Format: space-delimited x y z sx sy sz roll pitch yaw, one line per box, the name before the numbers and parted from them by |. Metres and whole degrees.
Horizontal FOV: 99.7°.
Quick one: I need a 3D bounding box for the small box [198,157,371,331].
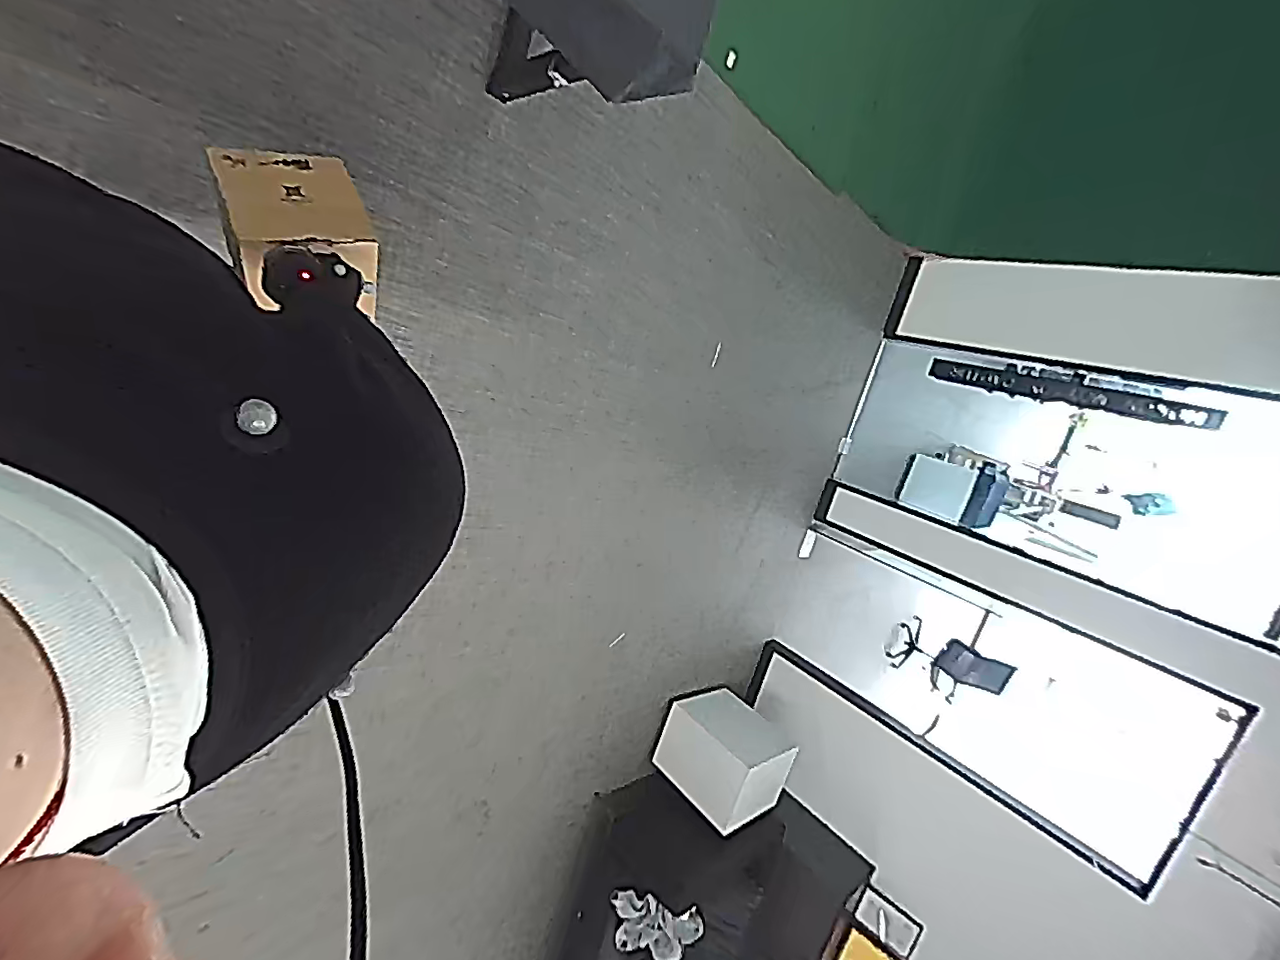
small box | -0.511 -0.339 0.800 0.168 0.179 0.176 -21 162 -34
